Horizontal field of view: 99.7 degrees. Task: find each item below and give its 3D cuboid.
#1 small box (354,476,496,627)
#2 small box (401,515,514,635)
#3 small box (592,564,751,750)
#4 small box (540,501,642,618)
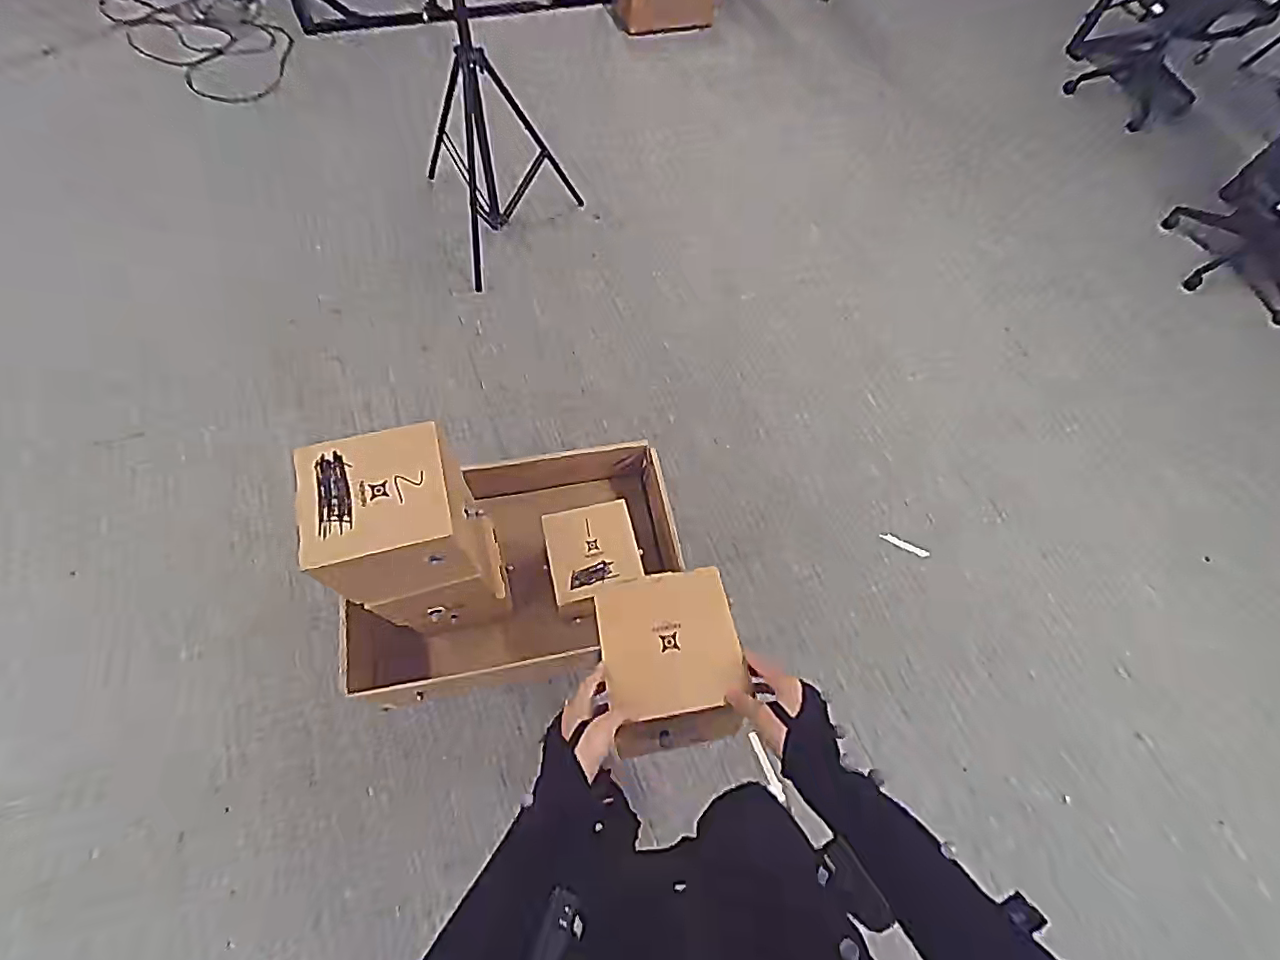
[{"bbox_3d":[-0.342,0.121,0.880,0.168,0.176,0.179,-15,68,-11],"label":"small box"},{"bbox_3d":[-0.347,0.187,1.029,0.179,0.176,0.168,-12,68,-11],"label":"small box"},{"bbox_3d":[0.035,0.237,0.707,0.168,0.176,0.179,-9,51,-5],"label":"small box"},{"bbox_3d":[-0.095,0.165,1.065,0.168,0.176,0.179,-12,67,-10],"label":"small box"}]
